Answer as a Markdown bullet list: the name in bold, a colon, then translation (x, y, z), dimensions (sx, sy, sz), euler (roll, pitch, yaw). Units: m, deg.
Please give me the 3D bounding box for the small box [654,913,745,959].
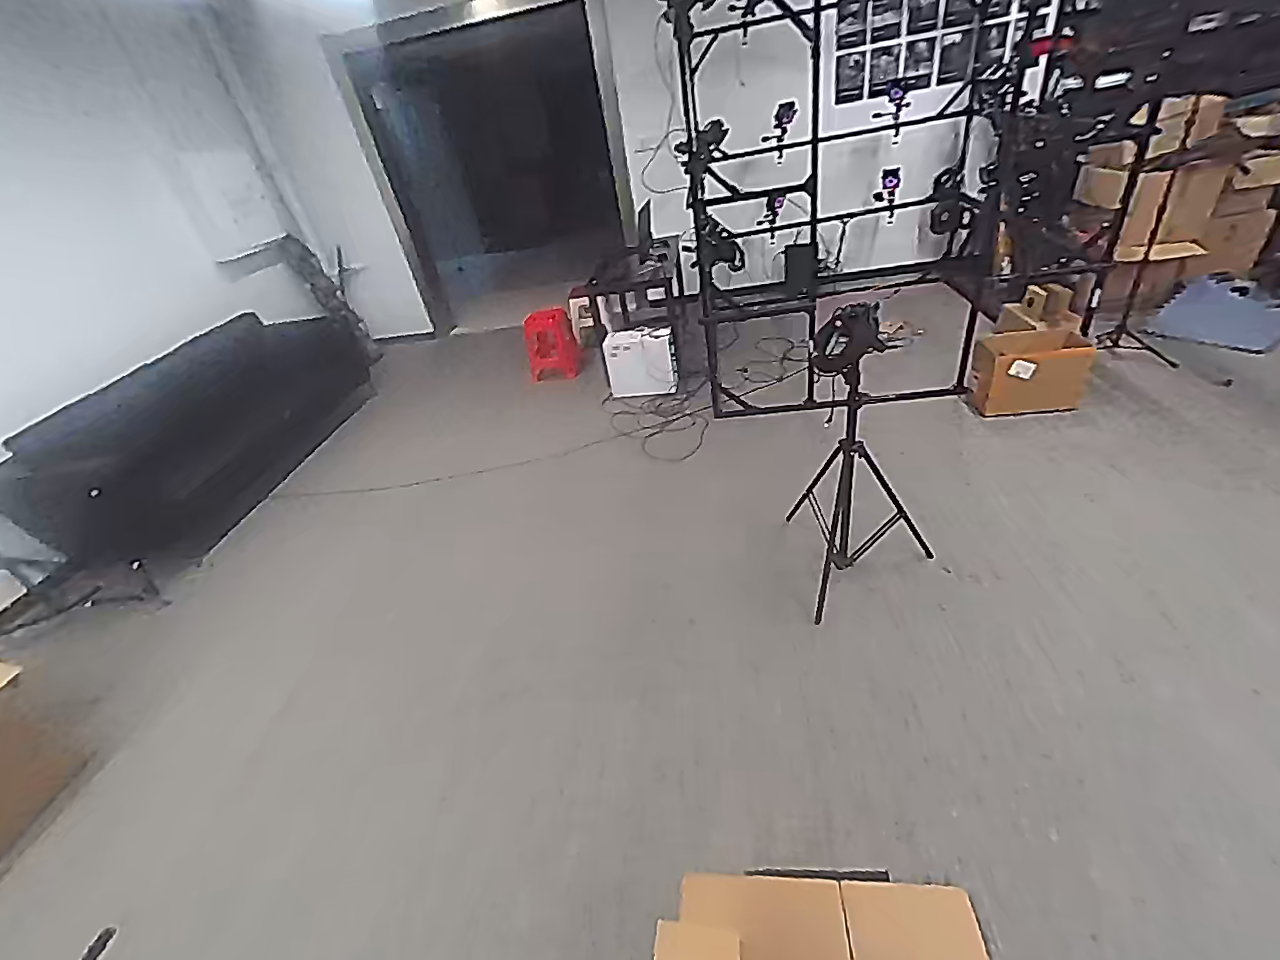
- **small box**: translation (0.116, 0.981, 1.044), dimensions (0.168, 0.176, 0.179), euler (-3, 36, 14)
